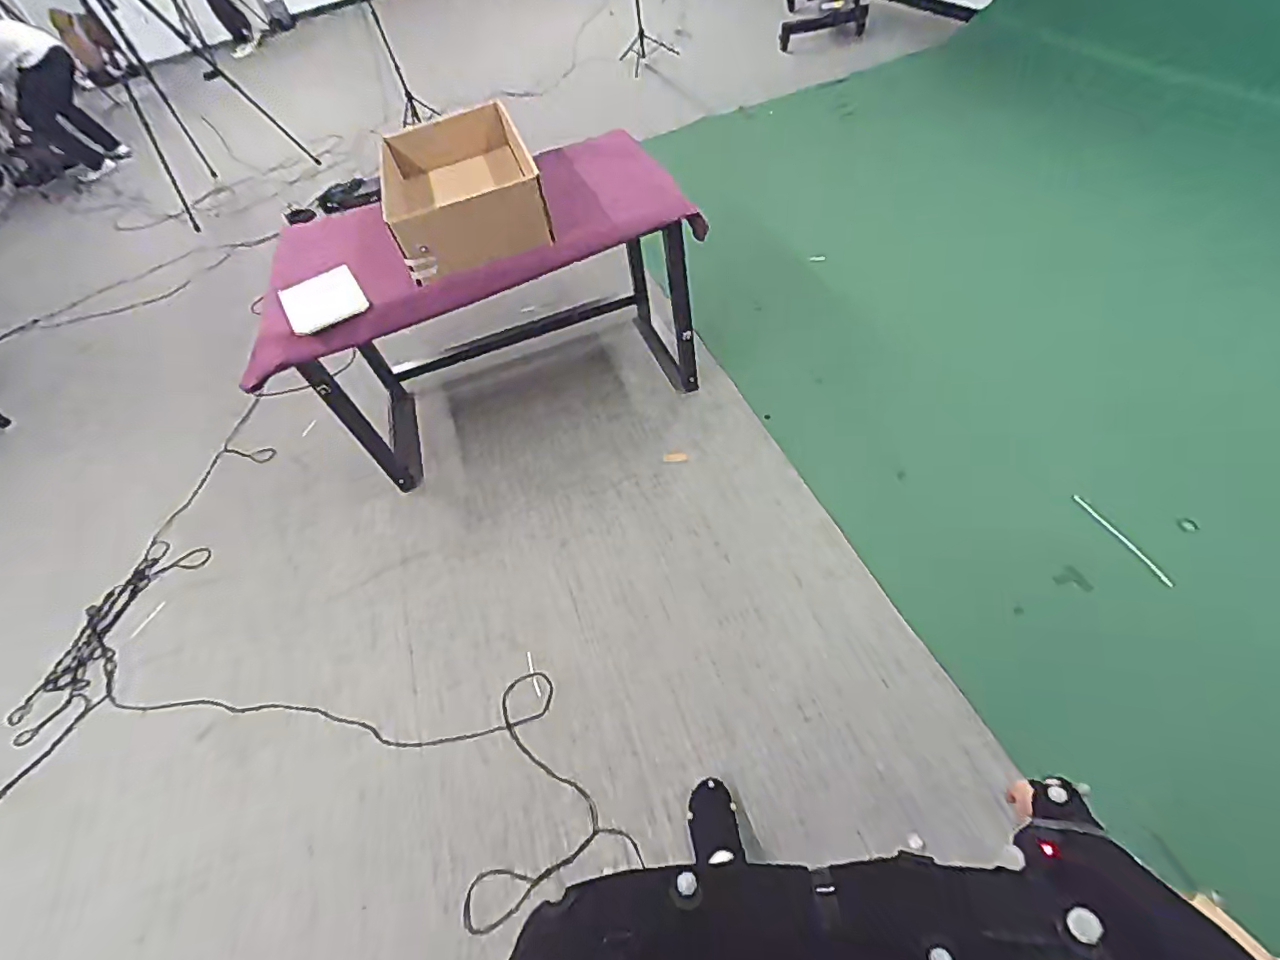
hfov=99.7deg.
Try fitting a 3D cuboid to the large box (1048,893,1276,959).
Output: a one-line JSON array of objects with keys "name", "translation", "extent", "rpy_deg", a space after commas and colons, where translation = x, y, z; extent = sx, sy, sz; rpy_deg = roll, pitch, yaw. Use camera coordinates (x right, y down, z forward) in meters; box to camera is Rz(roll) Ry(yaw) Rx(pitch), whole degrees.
[{"name": "large box", "translation": [0.821, 0.931, 0.825], "extent": [0.408, 0.320, 0.320], "rpy_deg": [-32, 55, -15]}]
